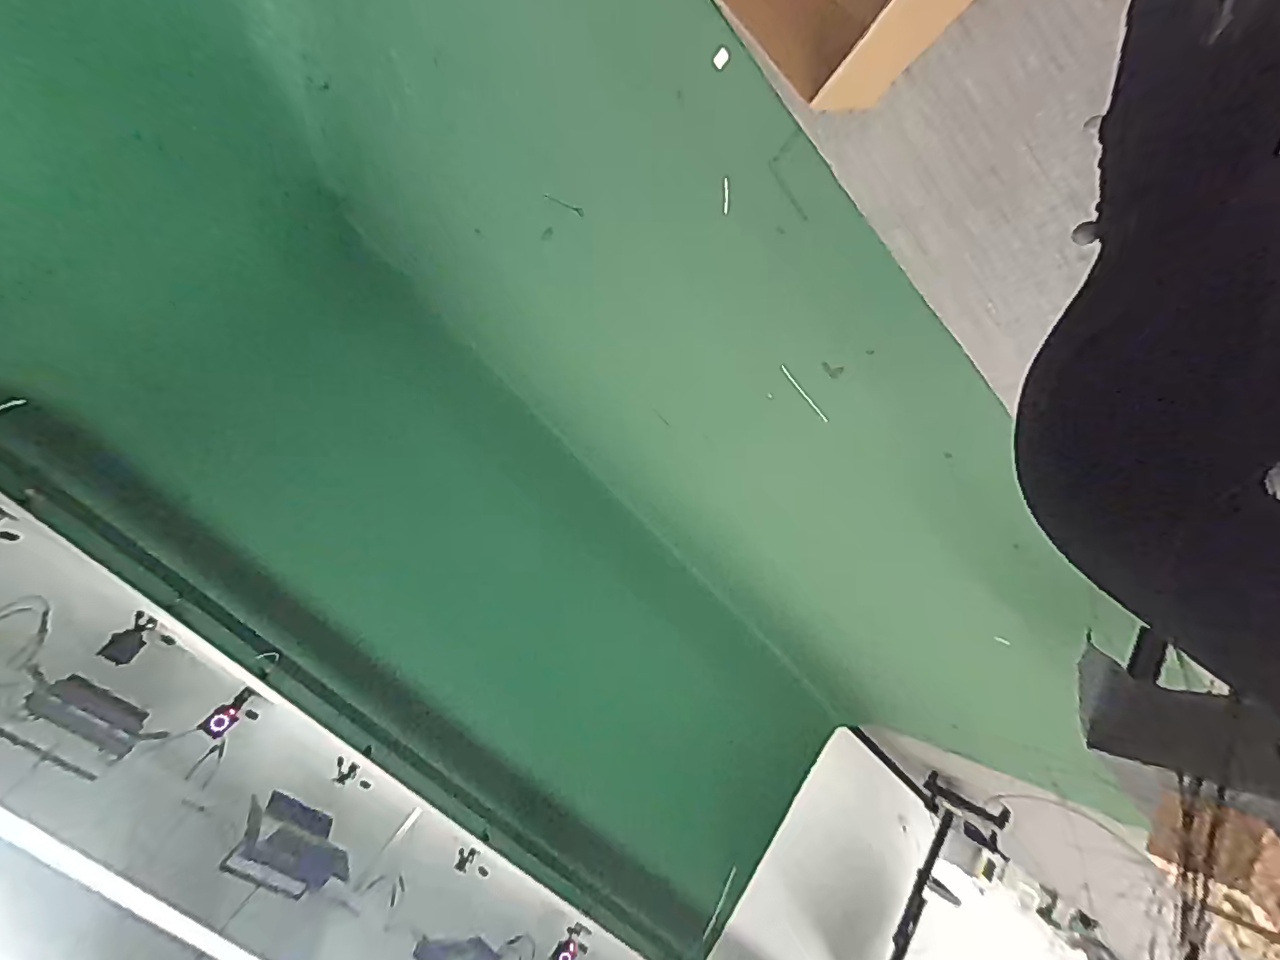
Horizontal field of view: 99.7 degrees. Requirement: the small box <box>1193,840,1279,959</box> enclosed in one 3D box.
[{"bbox_3d":[1.474,1.013,1.284,0.179,0.176,0.168,48,157,-16],"label":"small box"}]
